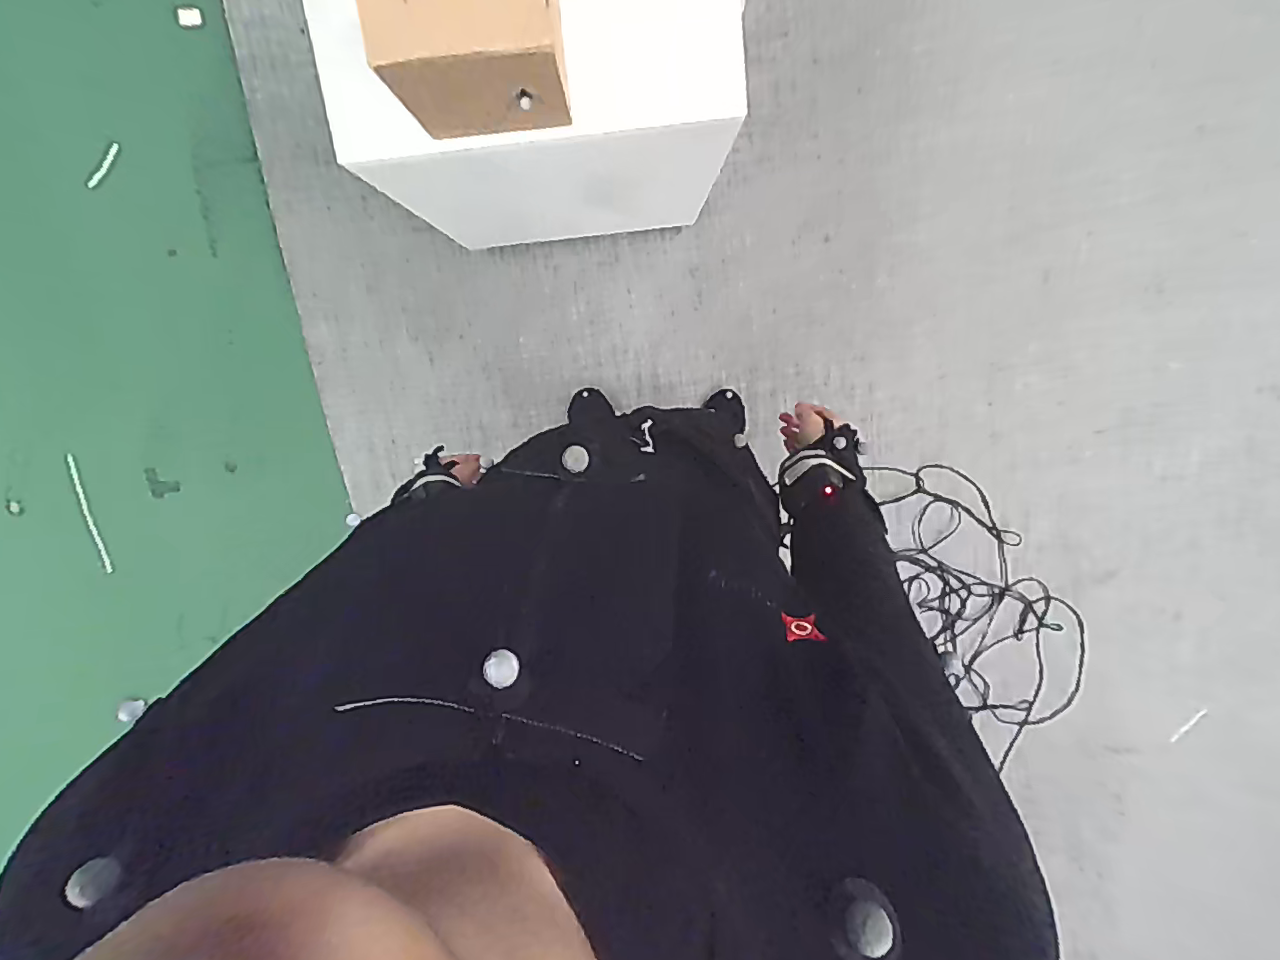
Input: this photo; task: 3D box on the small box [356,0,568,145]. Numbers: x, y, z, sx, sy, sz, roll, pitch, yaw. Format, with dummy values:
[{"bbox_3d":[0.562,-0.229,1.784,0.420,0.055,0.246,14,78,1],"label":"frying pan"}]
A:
[{"bbox_3d":[-0.174,-0.477,0.562,0.179,0.176,0.168,-7,101,1],"label":"small box"}]
